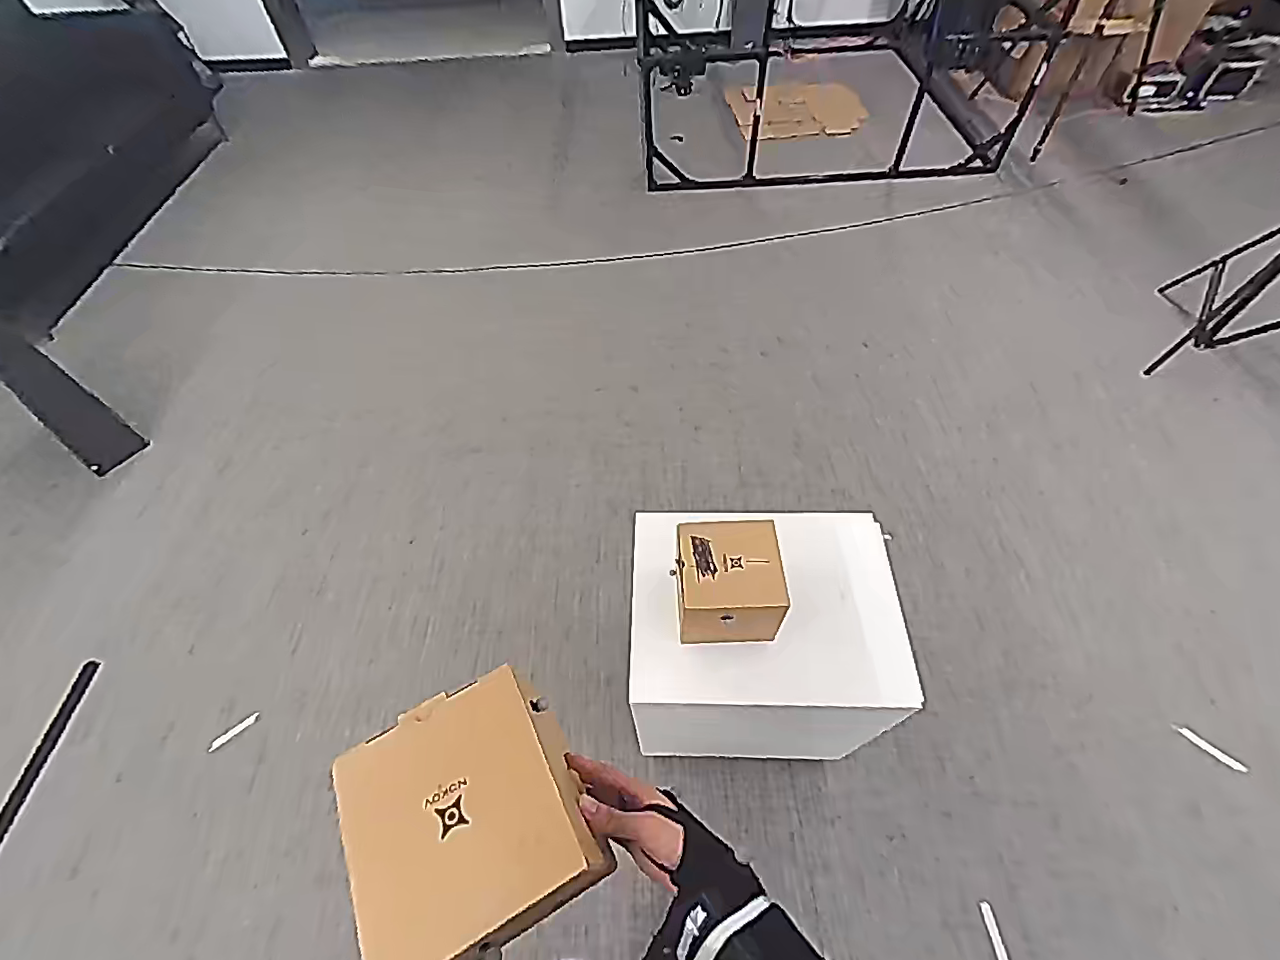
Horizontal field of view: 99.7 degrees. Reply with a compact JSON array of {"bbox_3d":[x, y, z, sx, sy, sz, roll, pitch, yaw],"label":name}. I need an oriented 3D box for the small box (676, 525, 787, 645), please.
[{"bbox_3d":[0.156,0.196,0.989,0.179,0.176,0.168,-1,54,0],"label":"small box"}]

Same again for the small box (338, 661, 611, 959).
[{"bbox_3d":[-0.140,0.304,0.494,0.168,0.176,0.179,-26,53,-12],"label":"small box"}]
